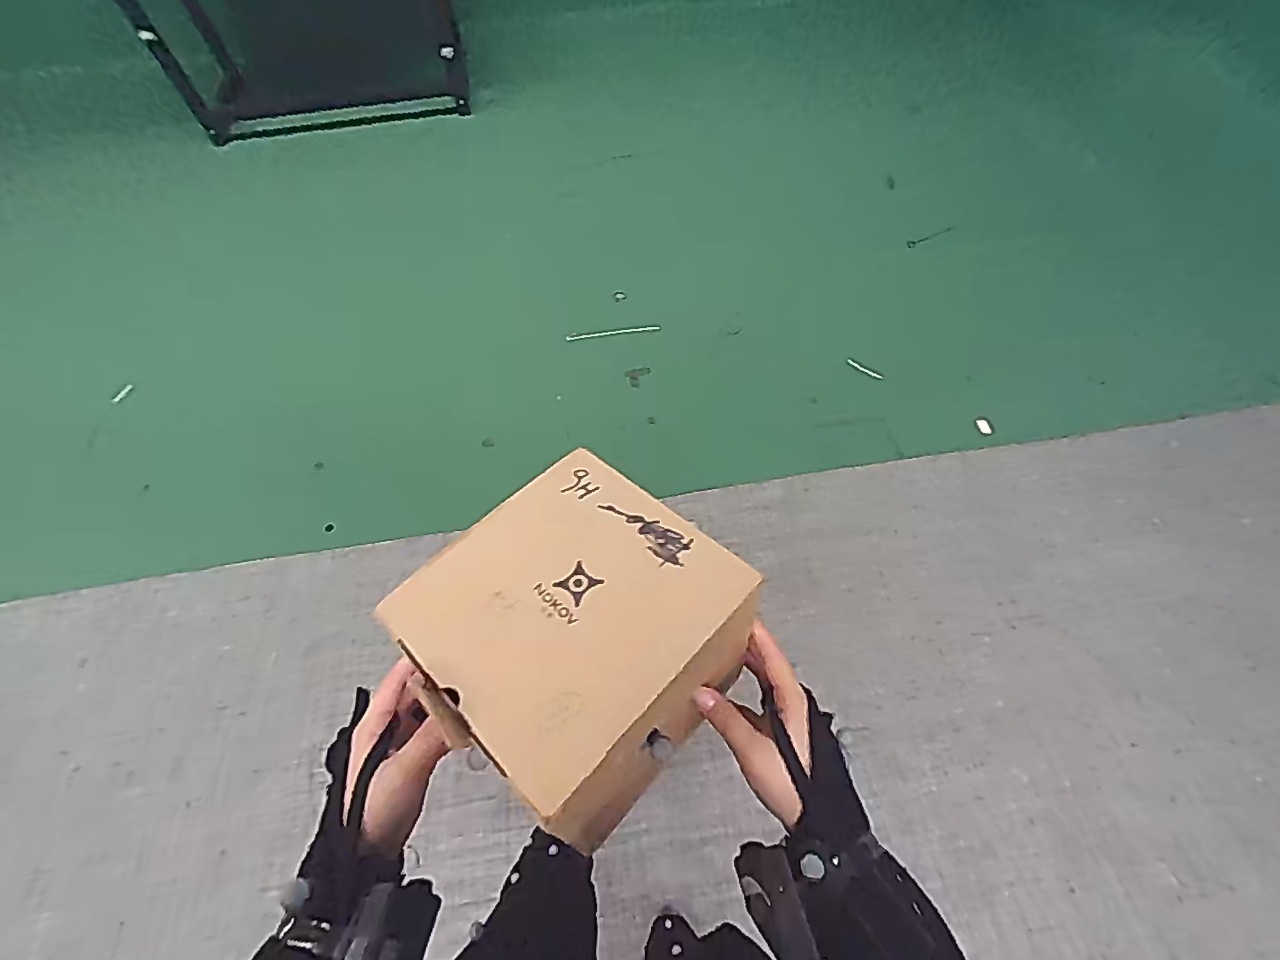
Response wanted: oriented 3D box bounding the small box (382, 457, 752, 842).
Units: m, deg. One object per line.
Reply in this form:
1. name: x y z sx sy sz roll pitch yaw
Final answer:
1. small box: -0.039 0.124 0.393 0.168 0.176 0.179 35 61 28
